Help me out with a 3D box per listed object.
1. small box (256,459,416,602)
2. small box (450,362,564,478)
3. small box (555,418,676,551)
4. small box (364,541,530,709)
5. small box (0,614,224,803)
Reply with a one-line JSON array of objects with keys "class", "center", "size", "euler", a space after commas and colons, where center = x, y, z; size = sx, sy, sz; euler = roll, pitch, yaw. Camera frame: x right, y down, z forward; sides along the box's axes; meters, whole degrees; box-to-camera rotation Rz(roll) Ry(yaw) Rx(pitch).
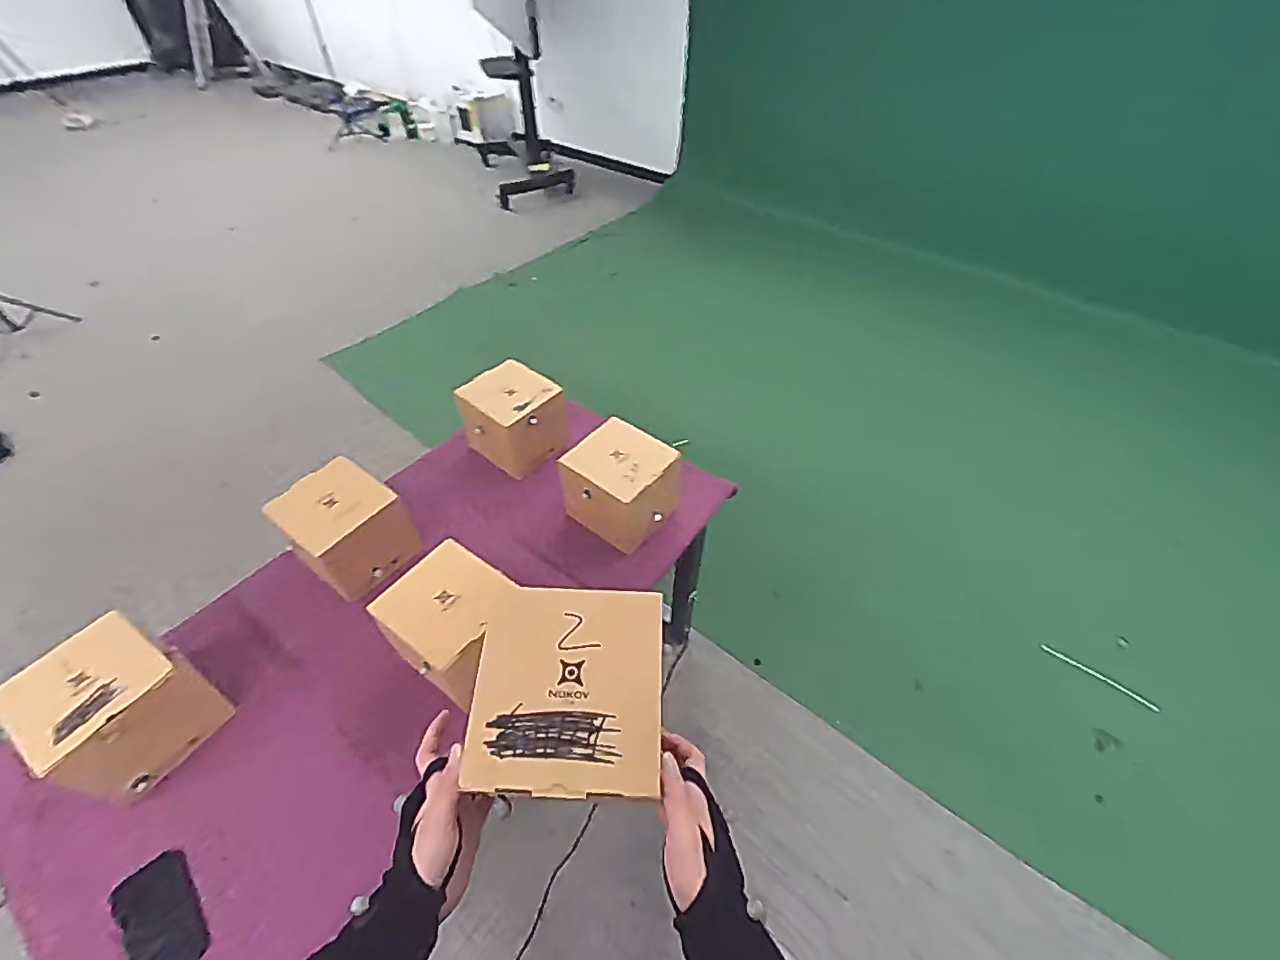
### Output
[{"class": "small box", "center": [-0.558, 0.097, 1.012], "size": [0.179, 0.176, 0.168], "euler": [29, 54, 23]}, {"class": "small box", "center": [-0.294, -0.134, 1.226], "size": [0.179, 0.176, 0.168], "euler": [31, 55, 26]}, {"class": "small box", "center": [-0.047, 0.011, 1.089], "size": [0.179, 0.176, 0.168], "euler": [31, 56, 25]}, {"class": "small box", "center": [-0.304, 0.239, 0.883], "size": [0.179, 0.176, 0.168], "euler": [27, 52, 23]}, {"class": "small box", "center": [-0.766, 0.336, 0.787], "size": [0.179, 0.176, 0.168], "euler": [25, 51, 22]}]
